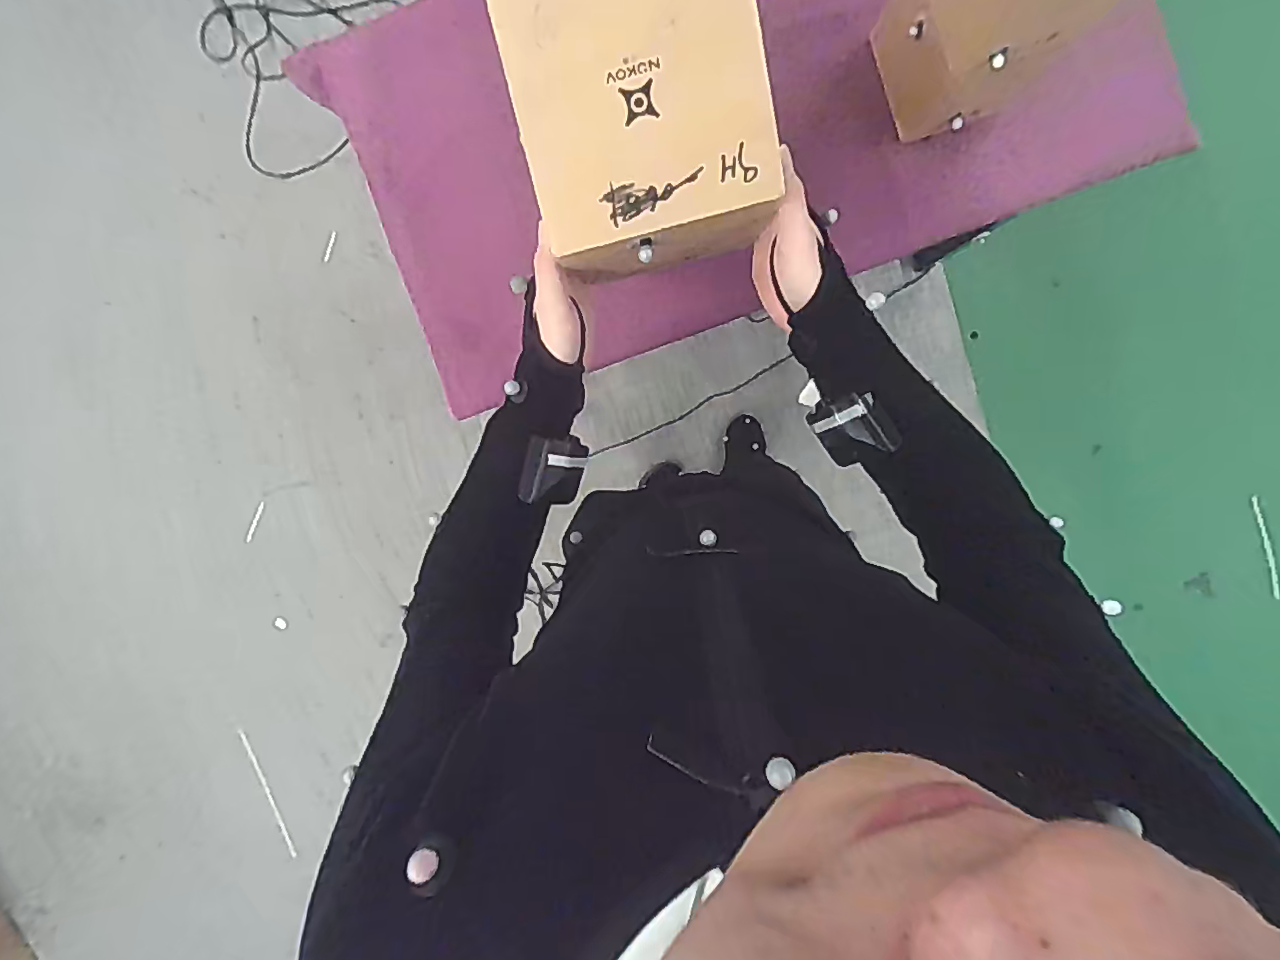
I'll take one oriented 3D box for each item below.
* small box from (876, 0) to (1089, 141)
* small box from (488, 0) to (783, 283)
[{"bbox_3d":[0.446,-0.613,0.735,0.168,0.176,0.179,-18,94,6],"label":"small box"},{"bbox_3d":[0.003,-0.270,0.423,0.168,0.176,0.179,-12,102,7],"label":"small box"}]
